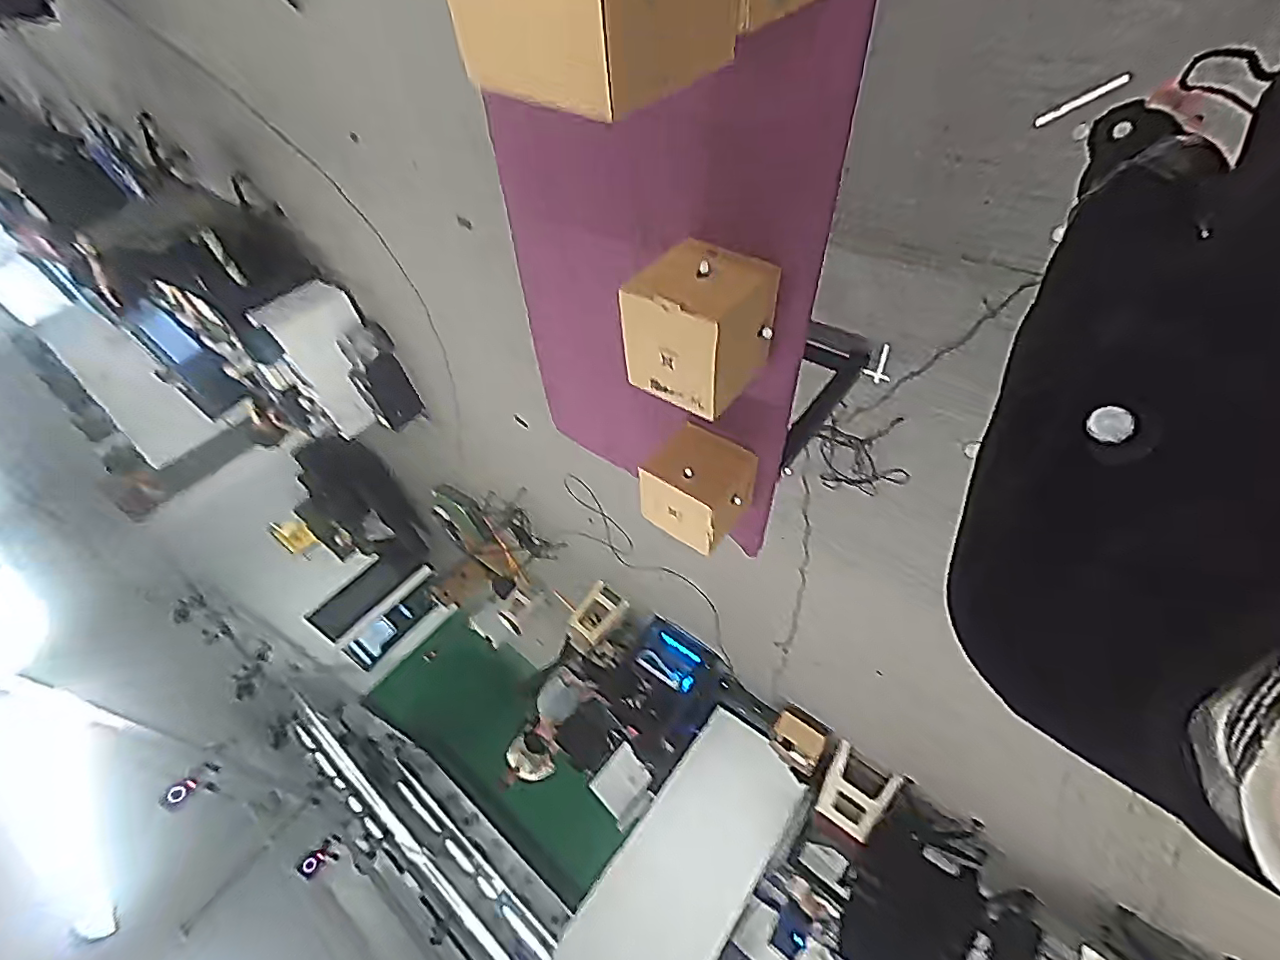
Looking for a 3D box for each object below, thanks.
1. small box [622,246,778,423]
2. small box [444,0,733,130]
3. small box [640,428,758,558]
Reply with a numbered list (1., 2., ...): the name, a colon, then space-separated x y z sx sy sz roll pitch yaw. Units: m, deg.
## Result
1. small box: 0.091 -0.225 0.818 0.168 0.176 0.179 29 148 25
2. small box: -0.038 -0.399 0.400 0.168 0.176 0.179 31 150 24
3. small box: 0.122 0.021 1.109 0.179 0.176 0.168 30 147 26
